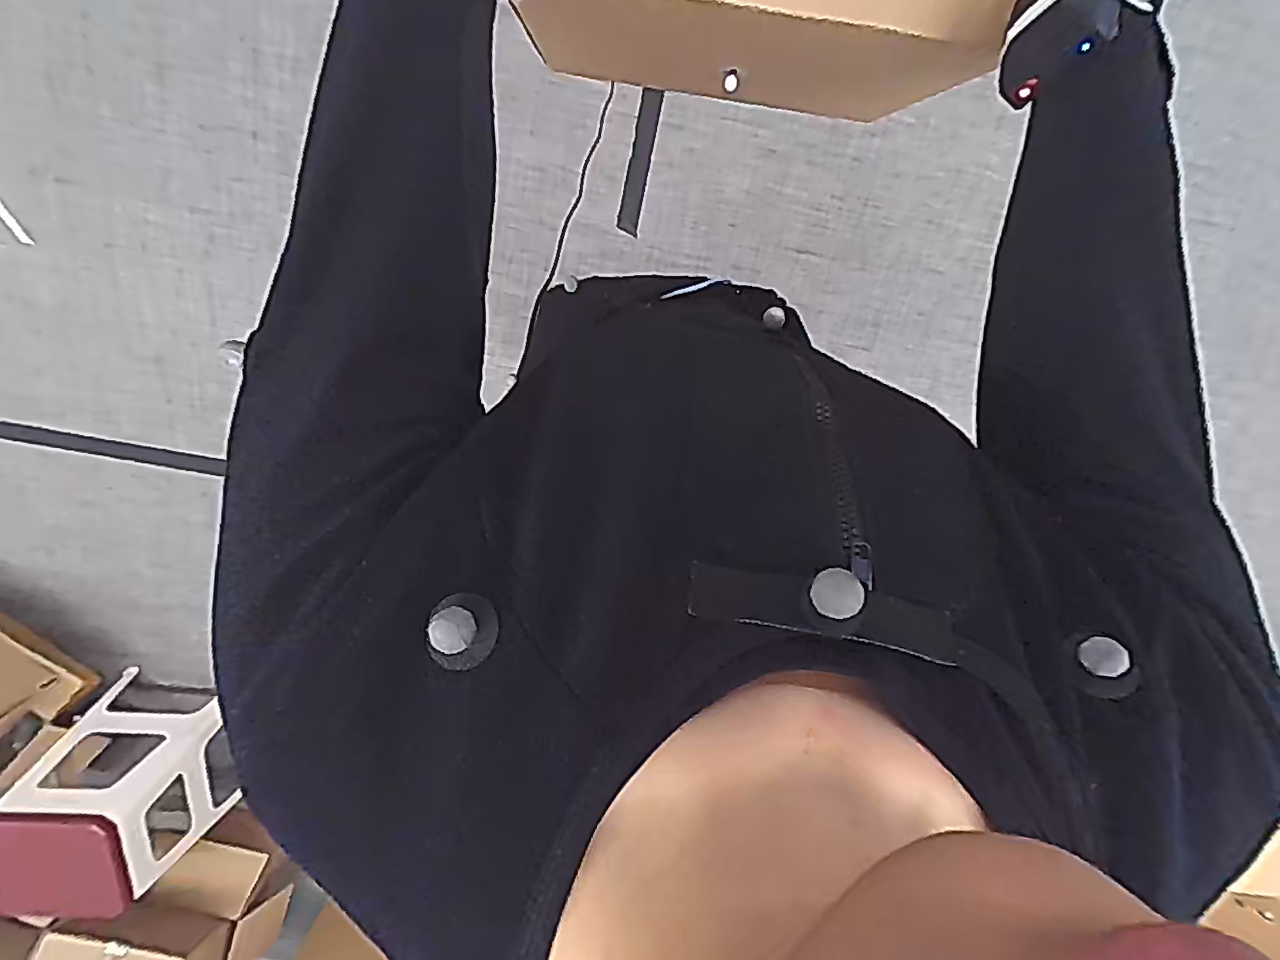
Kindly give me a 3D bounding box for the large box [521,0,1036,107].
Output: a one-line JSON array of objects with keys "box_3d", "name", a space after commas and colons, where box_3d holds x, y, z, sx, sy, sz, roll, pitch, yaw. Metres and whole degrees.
[{"box_3d": [0.113, -0.552, 0.465, 0.408, 0.320, 0.320, 7, 114, -3], "name": "large box"}]
